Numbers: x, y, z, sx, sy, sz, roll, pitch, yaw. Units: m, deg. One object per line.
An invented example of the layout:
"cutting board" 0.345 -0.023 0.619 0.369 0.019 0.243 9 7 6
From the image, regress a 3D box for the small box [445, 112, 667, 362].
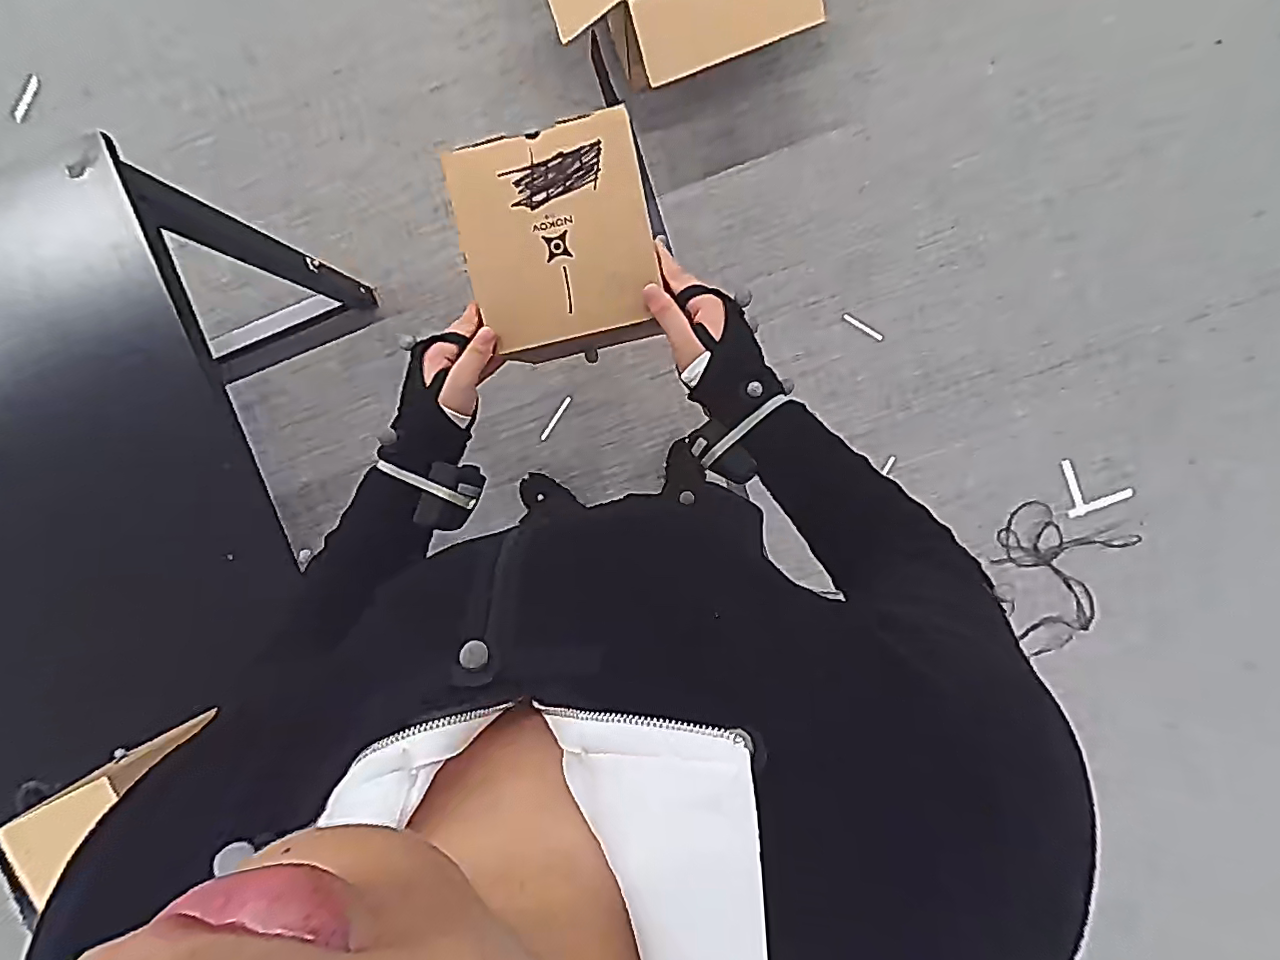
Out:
"small box" -0.070 -0.225 0.552 0.168 0.176 0.179 -12 100 4

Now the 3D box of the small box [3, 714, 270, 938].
"small box" -0.669 0.452 0.742 0.168 0.176 0.179 -27 94 4
